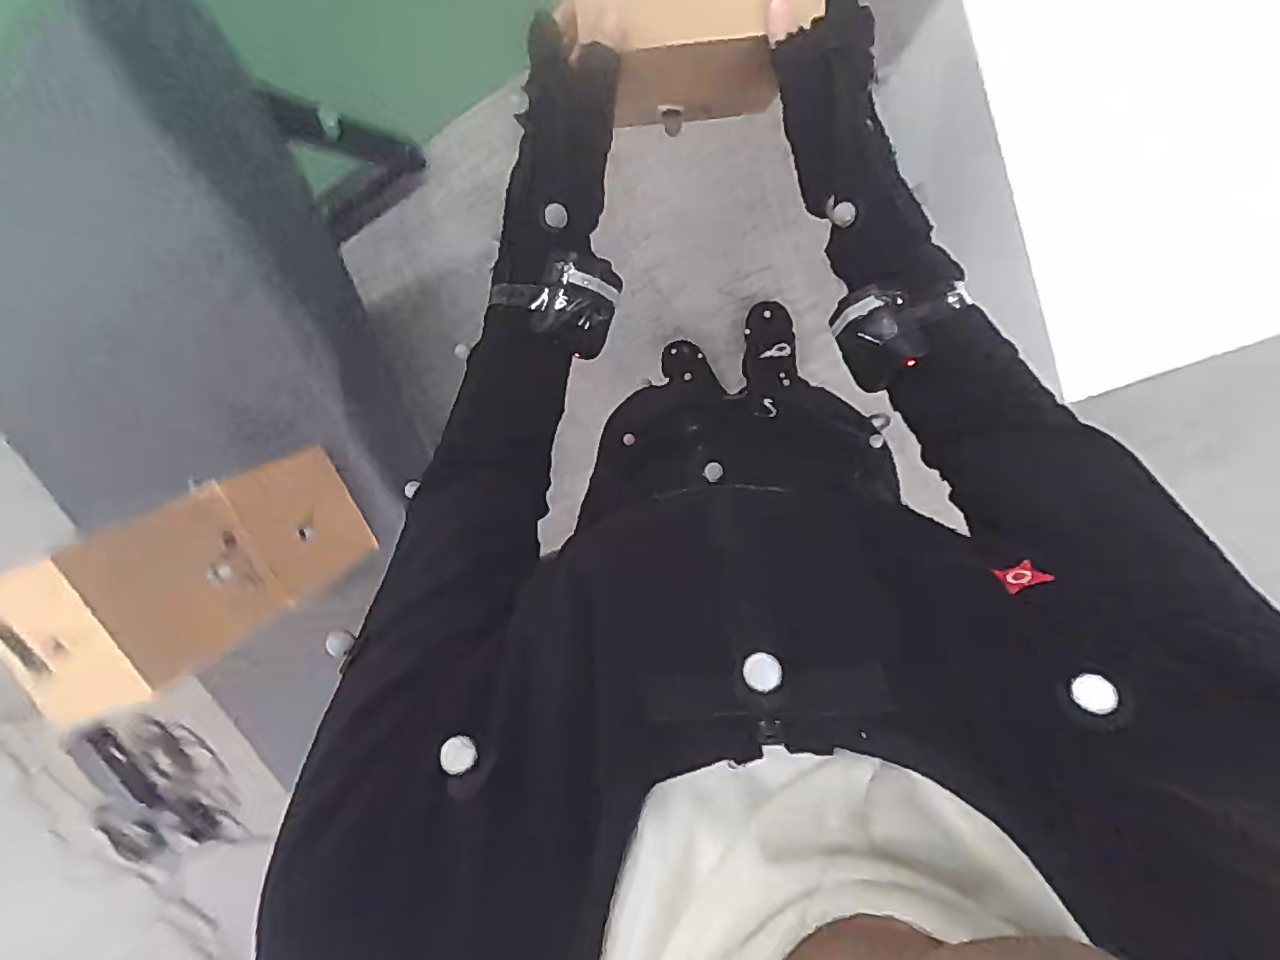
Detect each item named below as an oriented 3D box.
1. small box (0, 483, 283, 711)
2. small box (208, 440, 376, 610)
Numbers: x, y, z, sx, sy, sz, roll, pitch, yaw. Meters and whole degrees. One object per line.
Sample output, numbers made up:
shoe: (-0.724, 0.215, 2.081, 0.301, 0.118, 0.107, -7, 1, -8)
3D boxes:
small box: (-0.562, 0.126, 0.614, 0.179, 0.176, 0.168, -22, 103, 22)
small box: (-0.516, 0.066, 0.760, 0.168, 0.176, 0.179, -18, 105, 19)
